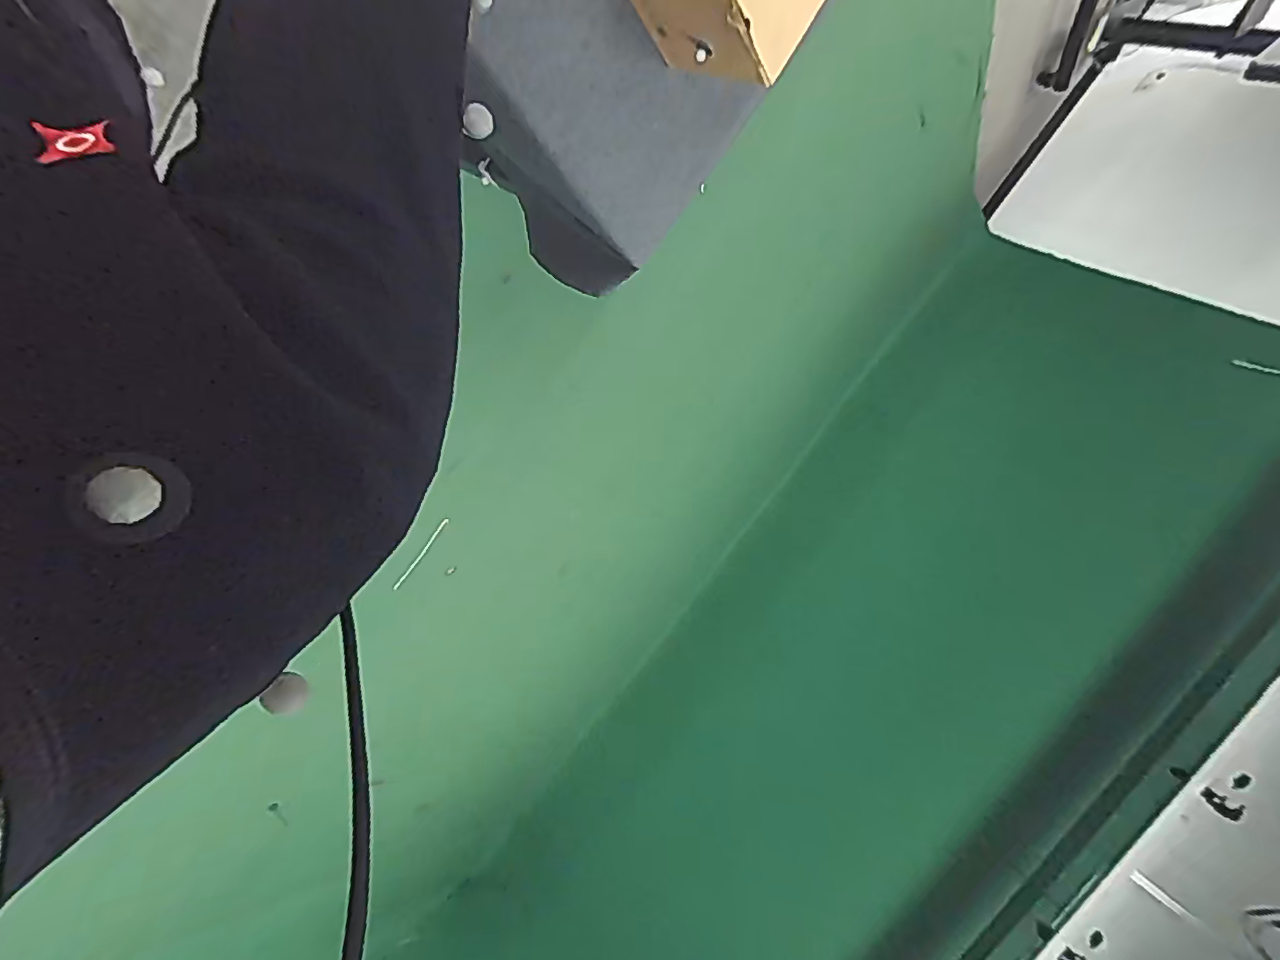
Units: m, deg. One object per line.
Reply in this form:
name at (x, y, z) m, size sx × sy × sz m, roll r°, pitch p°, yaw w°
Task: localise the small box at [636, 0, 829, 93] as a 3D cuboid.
small box at (0.098, -0.567, 0.578) m, size 0.179 × 0.176 × 0.168 m, roll -58°, pitch 150°, yaw 8°
